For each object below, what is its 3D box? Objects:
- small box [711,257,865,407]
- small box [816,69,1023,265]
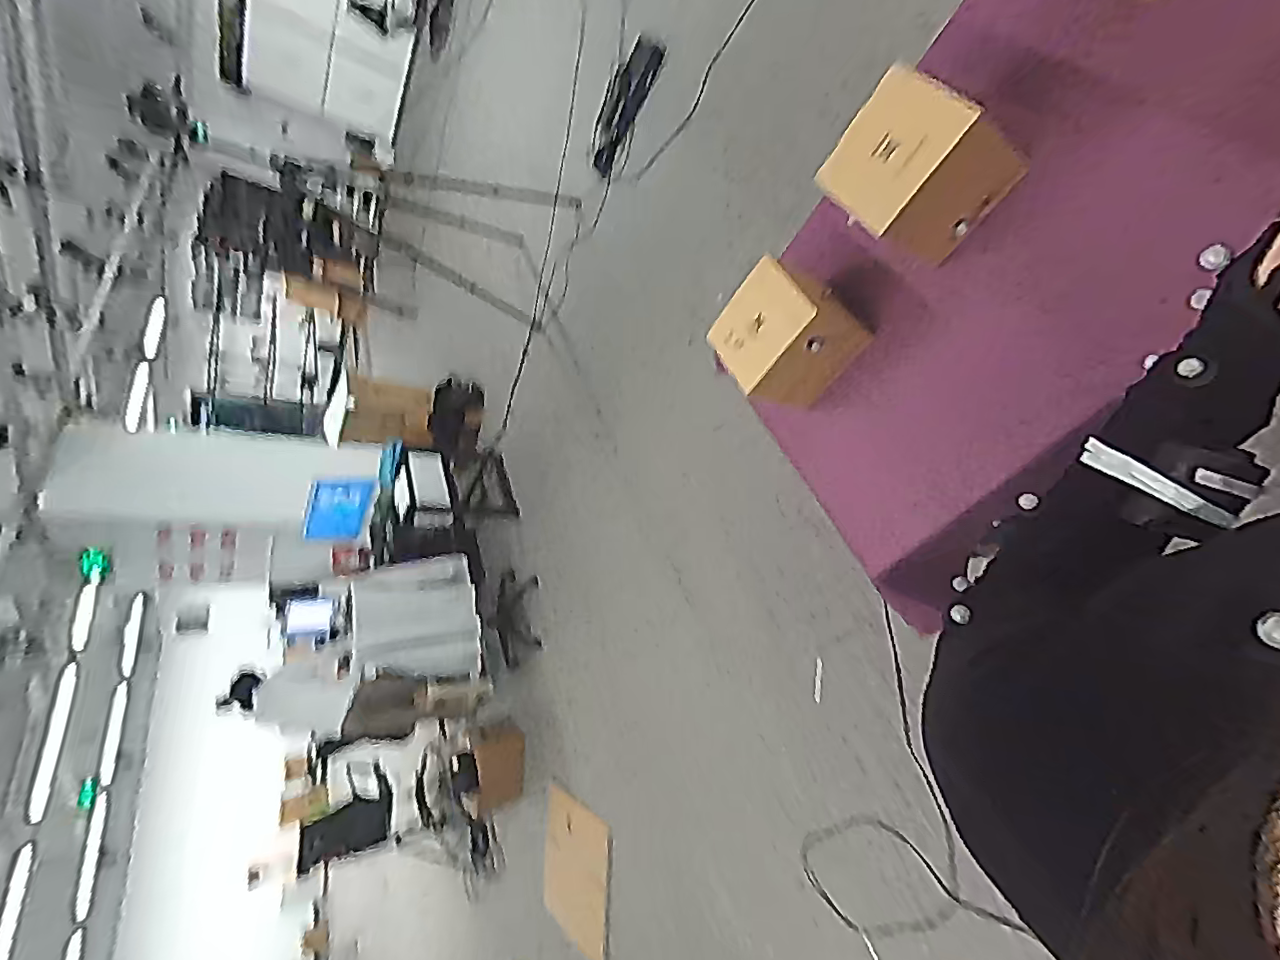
[{"bbox_3d":[0.265,-0.252,0.954,0.179,0.176,0.168,-52,47,36],"label":"small box"},{"bbox_3d":[0.404,-0.445,0.793,0.168,0.176,0.179,-53,47,37],"label":"small box"}]
